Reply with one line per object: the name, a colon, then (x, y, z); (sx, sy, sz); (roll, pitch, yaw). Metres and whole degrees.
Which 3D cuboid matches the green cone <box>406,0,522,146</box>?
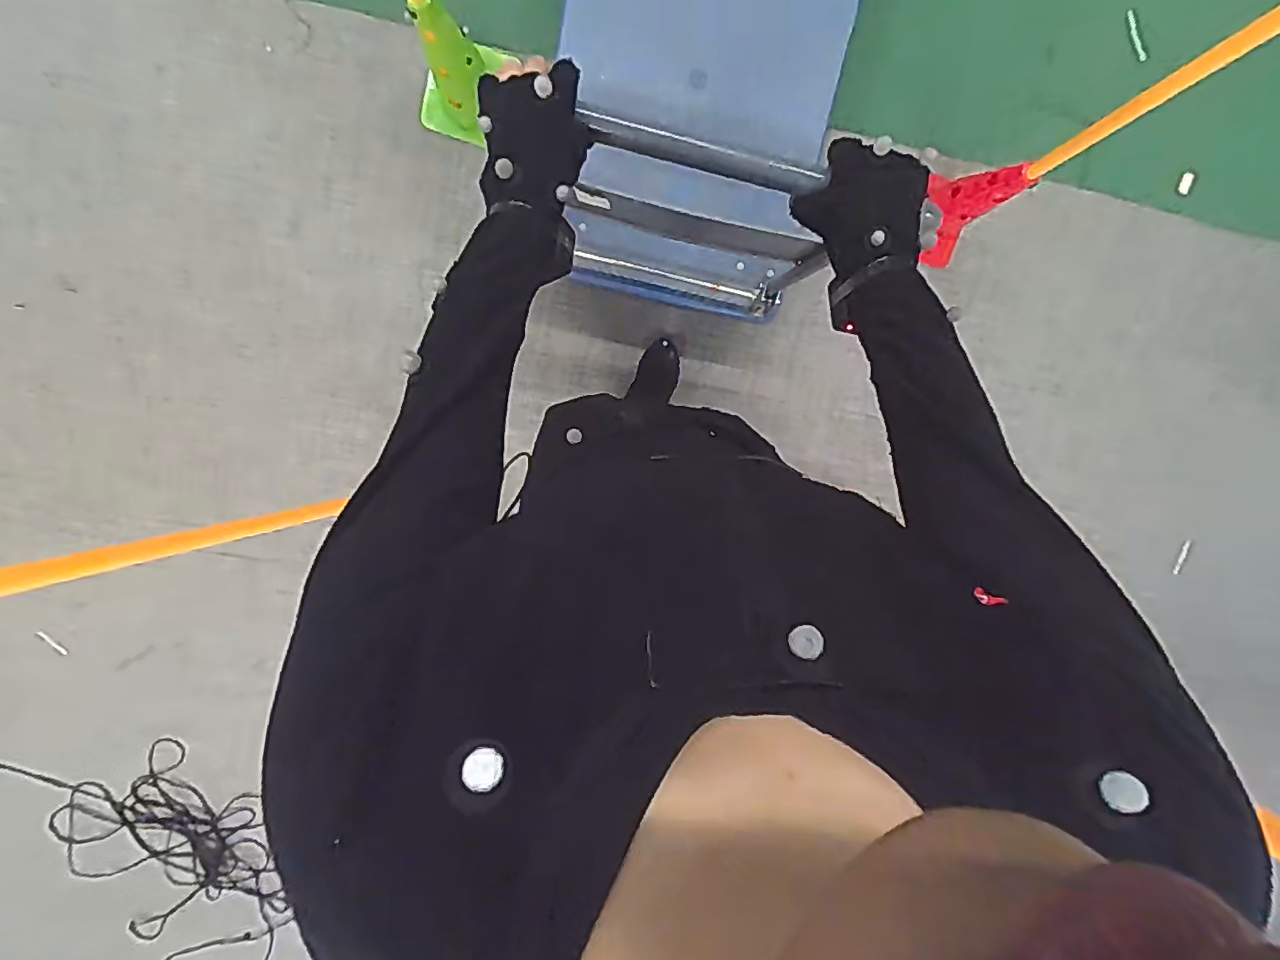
green cone: (-0.379, -0.862, 1.077); (0.202, 0.368, 0.200); (15, 101, -5)
